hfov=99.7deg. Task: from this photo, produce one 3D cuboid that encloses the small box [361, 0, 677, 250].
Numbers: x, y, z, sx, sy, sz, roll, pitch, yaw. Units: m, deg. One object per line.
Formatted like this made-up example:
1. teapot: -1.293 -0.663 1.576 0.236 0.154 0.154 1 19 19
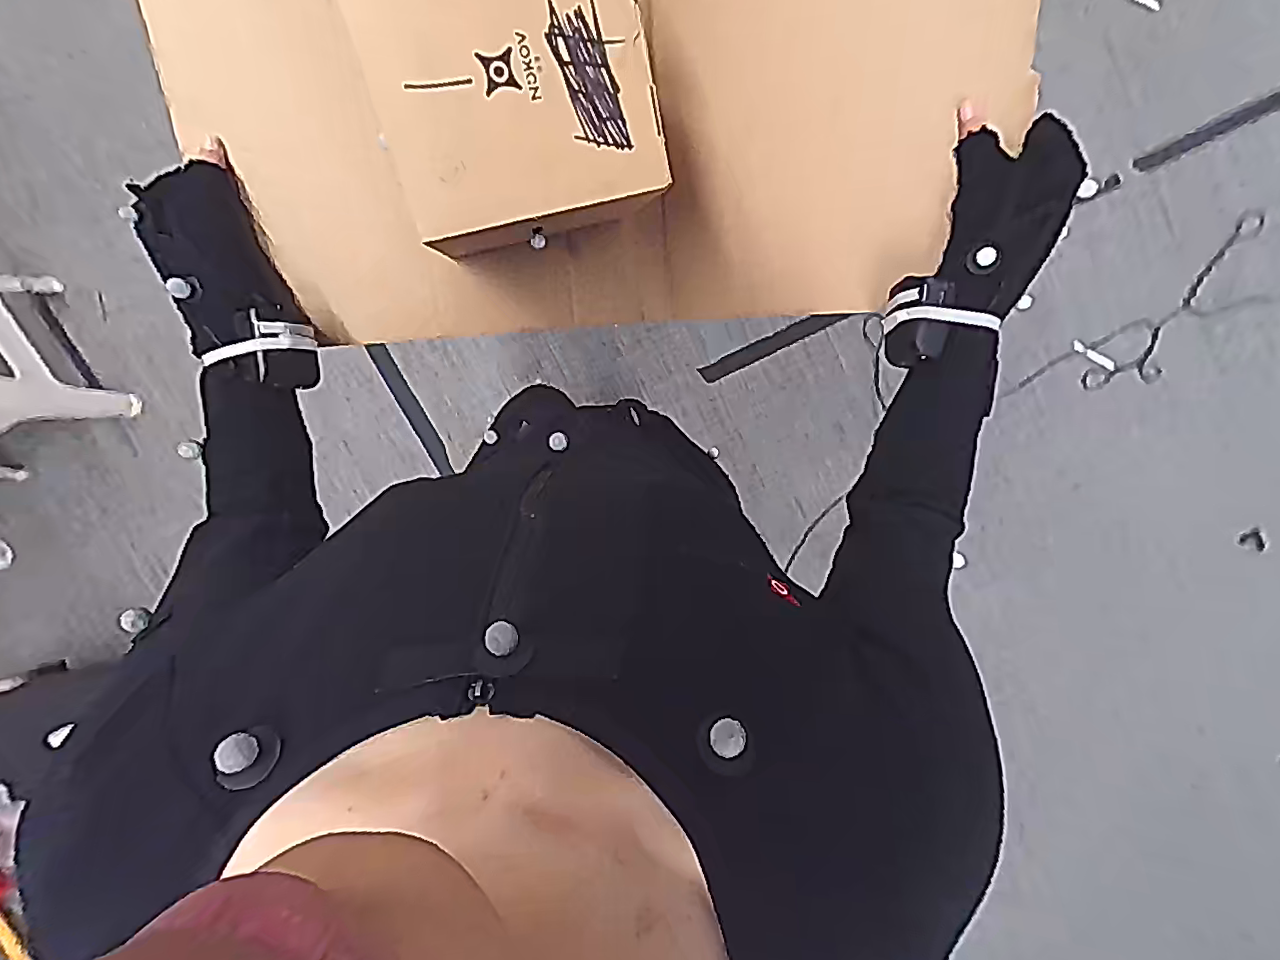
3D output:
1. small box: -0.088 -0.284 0.419 0.179 0.176 0.168 -15 111 -7
